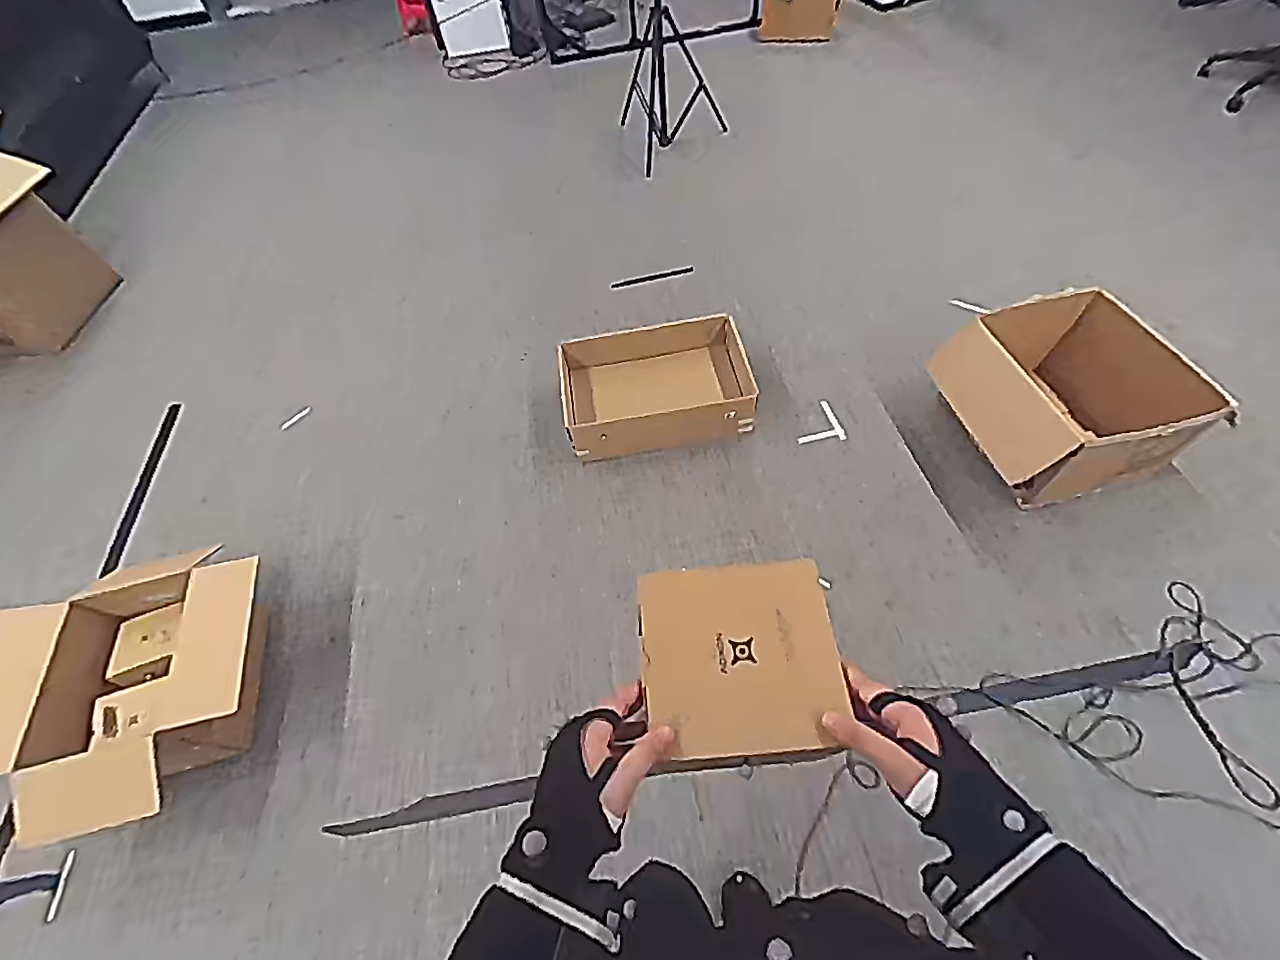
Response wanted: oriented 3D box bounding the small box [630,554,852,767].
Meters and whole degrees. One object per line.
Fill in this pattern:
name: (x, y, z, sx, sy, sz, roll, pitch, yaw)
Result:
small box: (0.089, 0.191, 0.554, 0.179, 0.176, 0.168, -6, 59, 0)
